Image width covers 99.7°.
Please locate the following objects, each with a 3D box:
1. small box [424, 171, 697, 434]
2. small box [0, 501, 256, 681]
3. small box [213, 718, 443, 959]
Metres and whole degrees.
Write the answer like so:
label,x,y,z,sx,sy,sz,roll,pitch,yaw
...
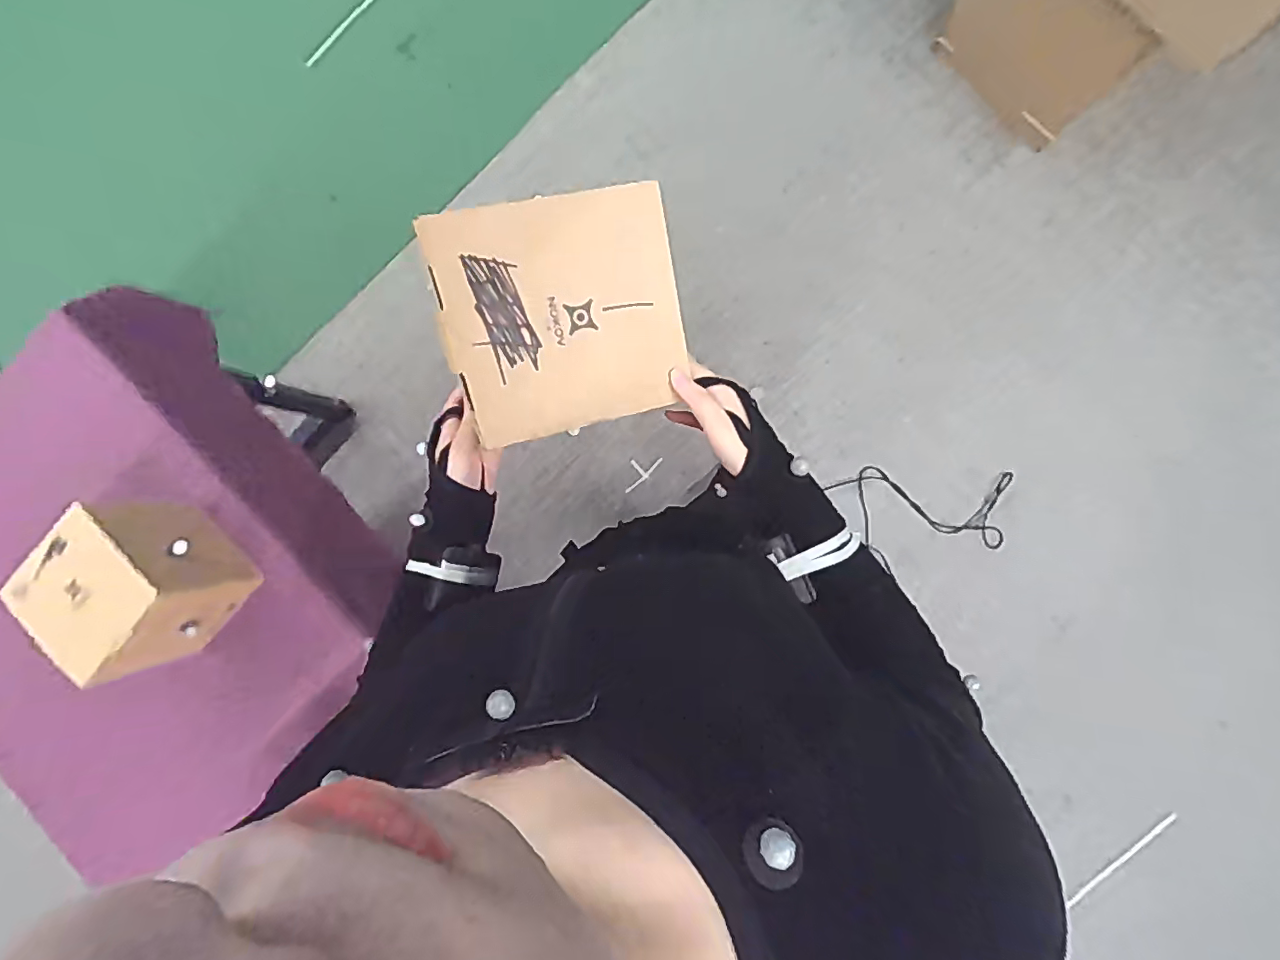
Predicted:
label,x,y,z,sx,sy,sz,roll,pitch,yaw
small box,-0.069,-0.149,0.473,0.179,0.176,0.168,-15,109,-12
small box,-0.707,0.141,0.767,0.179,0.176,0.168,43,93,5
small box,-0.394,0.458,0.722,0.168,0.176,0.179,44,93,7
